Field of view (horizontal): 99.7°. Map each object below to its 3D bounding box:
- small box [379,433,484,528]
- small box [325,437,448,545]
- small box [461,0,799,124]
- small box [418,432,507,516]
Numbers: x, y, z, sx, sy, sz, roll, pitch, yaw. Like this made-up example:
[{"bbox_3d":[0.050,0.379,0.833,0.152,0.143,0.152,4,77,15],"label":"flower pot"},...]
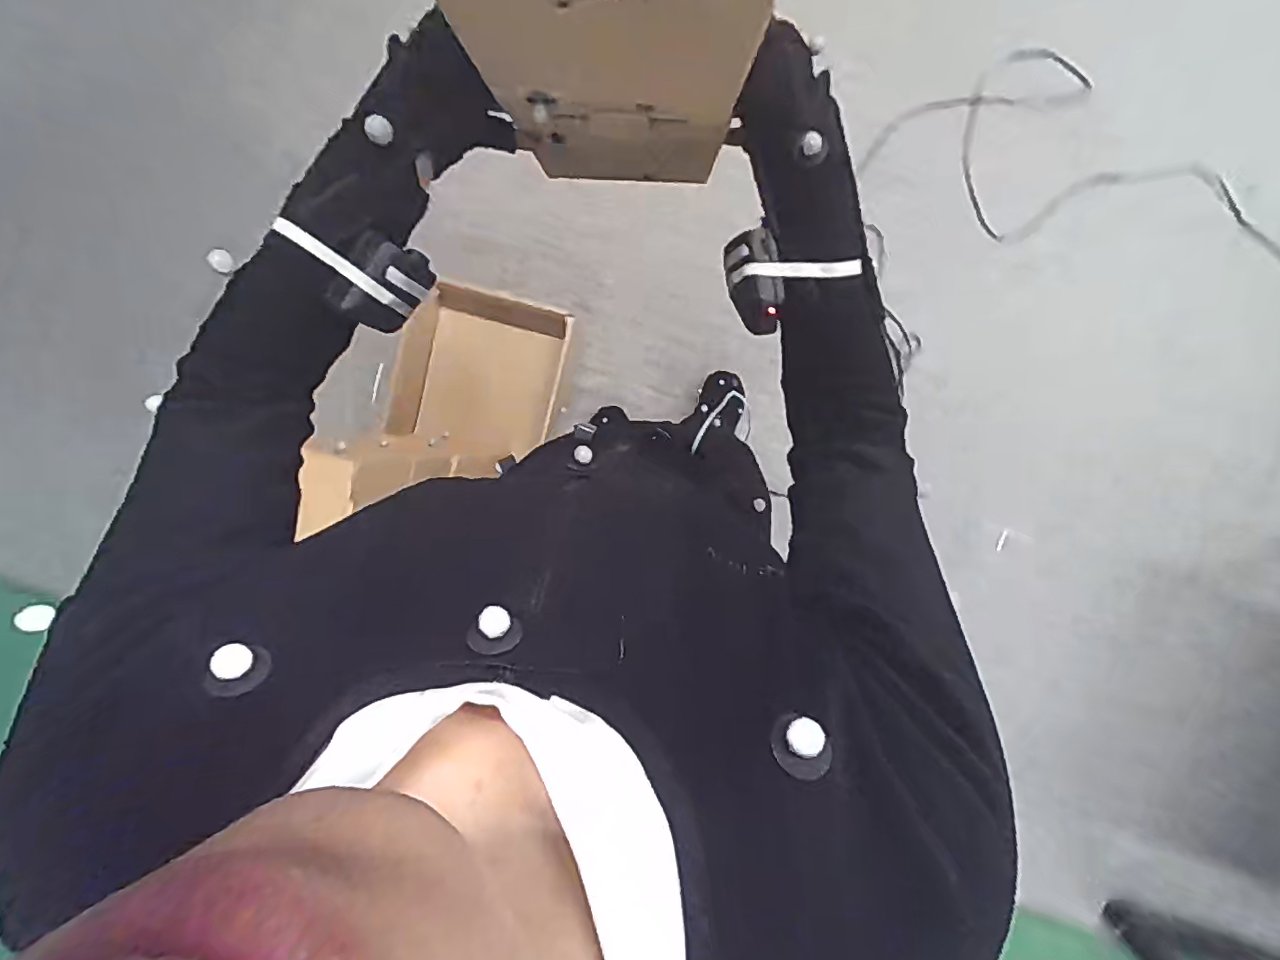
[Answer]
[{"bbox_3d":[-0.478,-0.004,1.213,0.179,0.176,0.168,16,97,3],"label":"small box"},{"bbox_3d":[-0.498,0.013,1.051,0.179,0.176,0.168,14,96,3],"label":"small box"},{"bbox_3d":[0.000,-0.317,0.284,0.168,0.176,0.179,6,106,-3],"label":"small box"},{"bbox_3d":[-0.462,-0.020,1.374,0.179,0.176,0.168,17,97,3],"label":"small box"}]
